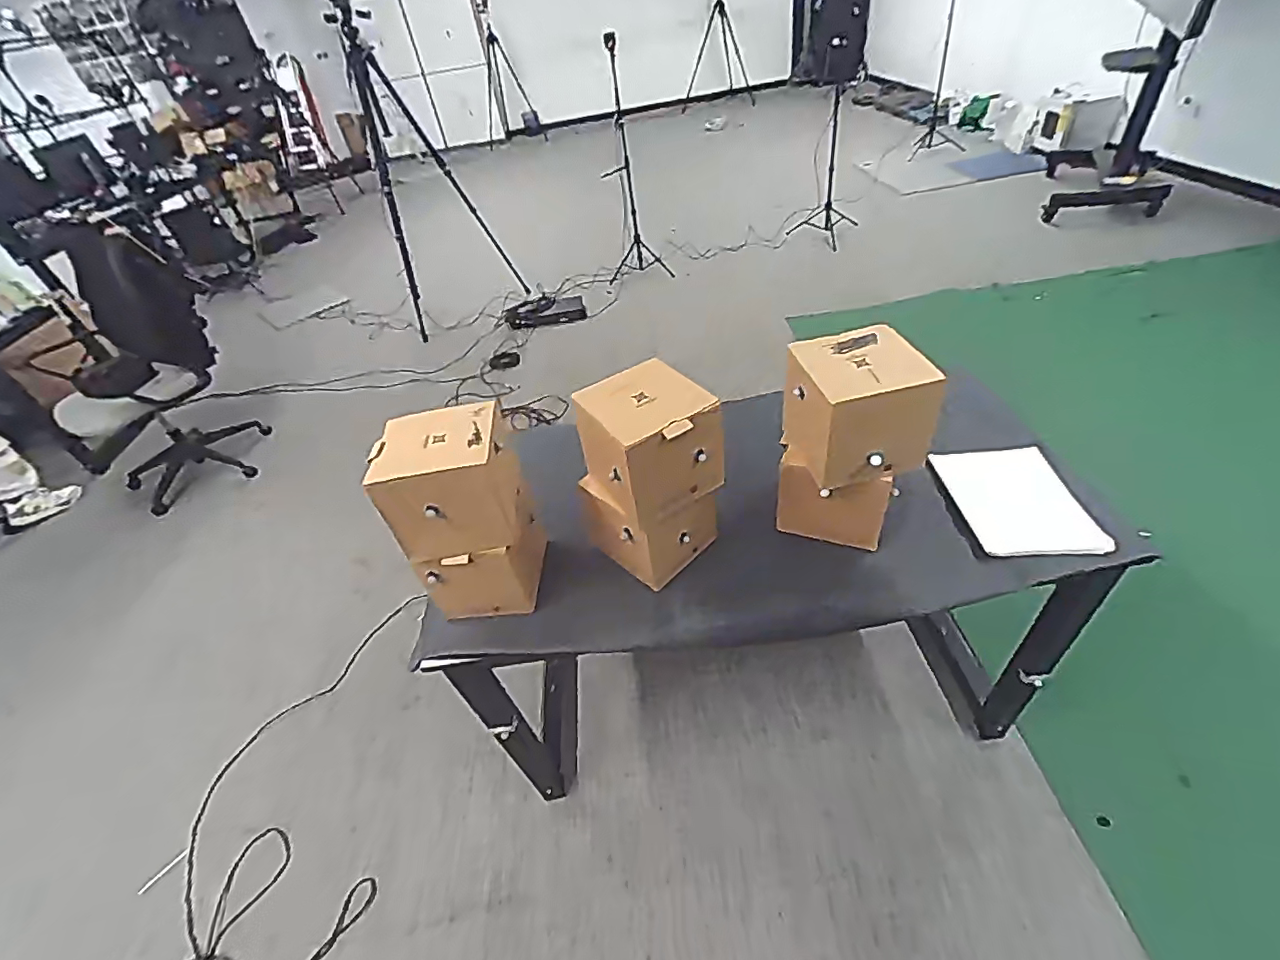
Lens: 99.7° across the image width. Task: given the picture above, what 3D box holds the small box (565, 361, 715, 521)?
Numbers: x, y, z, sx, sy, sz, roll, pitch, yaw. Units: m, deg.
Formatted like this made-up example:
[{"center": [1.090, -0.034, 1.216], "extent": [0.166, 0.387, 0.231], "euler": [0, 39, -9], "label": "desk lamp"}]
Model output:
[{"center": [0.006, -0.057, 0.858], "extent": [0.168, 0.176, 0.179], "euler": [-27, 44, -20], "label": "small box"}]

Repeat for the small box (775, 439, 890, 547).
[{"center": [0.349, -0.001, 0.971], "extent": [0.179, 0.176, 0.168], "euler": [11, 46, 24], "label": "small box"}]

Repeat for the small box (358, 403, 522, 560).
[{"center": [-0.298, 0.006, 0.848], "extent": [0.179, 0.176, 0.168], "euler": [-11, 40, -1], "label": "small box"}]

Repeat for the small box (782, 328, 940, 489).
[{"center": [0.329, -0.113, 0.850], "extent": [0.168, 0.176, 0.179], "euler": [-13, 42, -1], "label": "small box"}]

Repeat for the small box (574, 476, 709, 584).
[{"center": [0.011, 0.060, 0.972], "extent": [0.168, 0.176, 0.179], "euler": [-37, 48, -28], "label": "small box"}]
